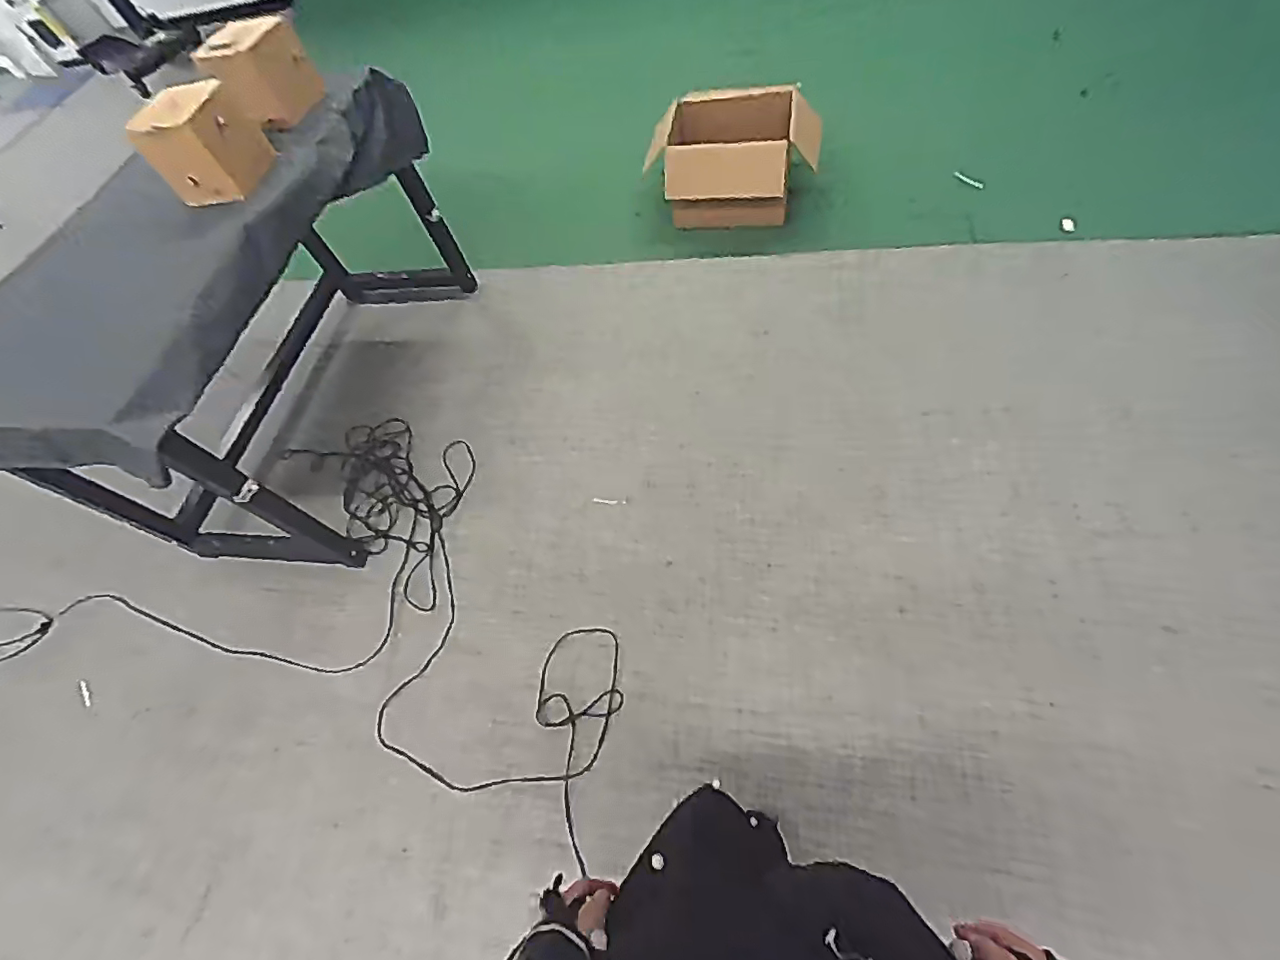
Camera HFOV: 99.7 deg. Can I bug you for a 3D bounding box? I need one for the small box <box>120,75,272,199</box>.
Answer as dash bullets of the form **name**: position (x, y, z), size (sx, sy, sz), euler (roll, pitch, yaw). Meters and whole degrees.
- **small box**: position (-0.976, -0.763, 1.212), size (0.168, 0.176, 0.179), euler (0, 62, 11)
